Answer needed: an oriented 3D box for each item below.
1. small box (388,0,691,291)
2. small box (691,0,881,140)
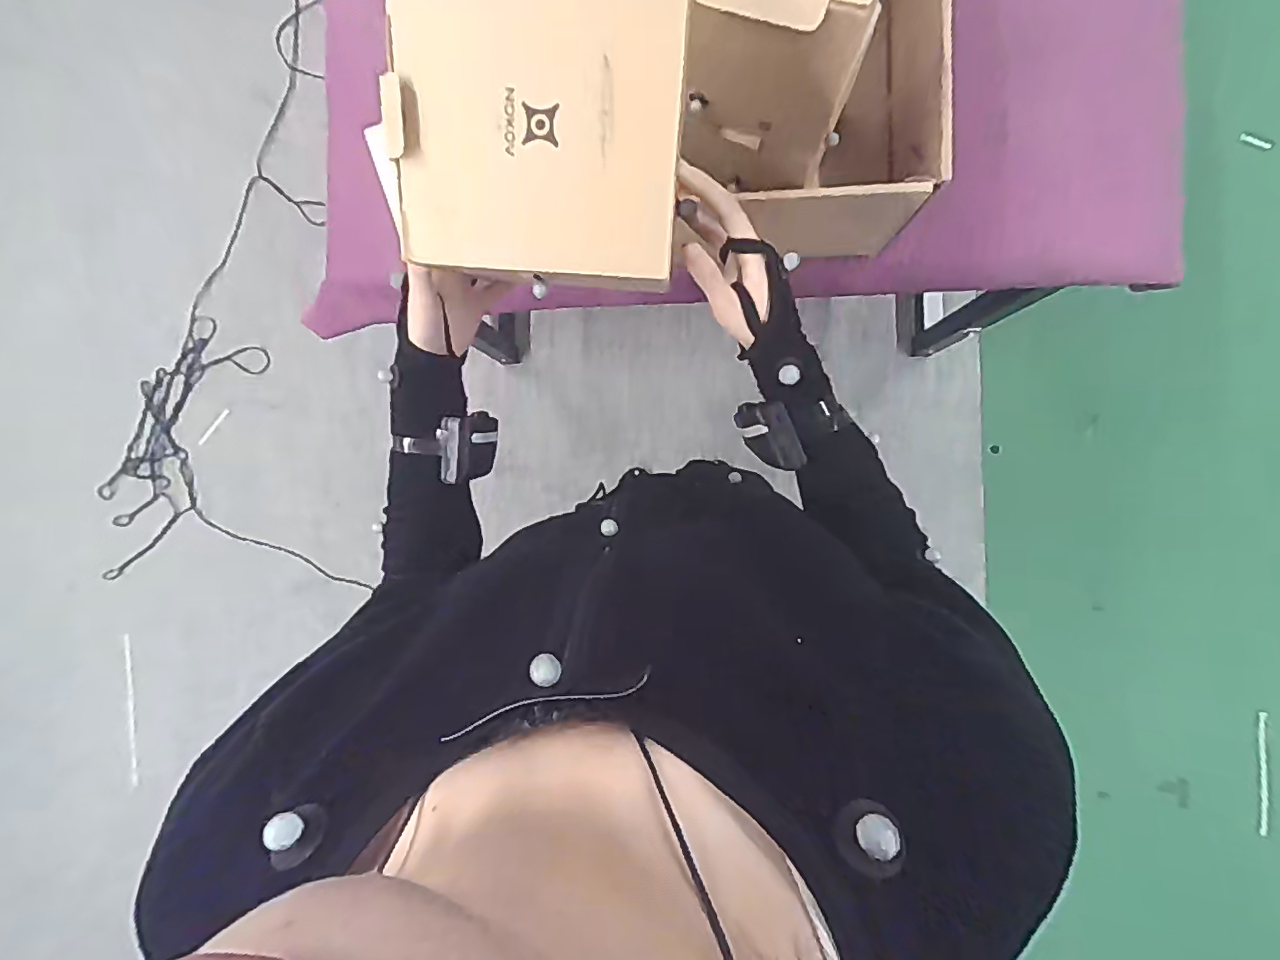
[{"bbox_3d":[-0.058,-0.234,0.399,0.179,0.176,0.168,5,107,3],"label":"small box"},{"bbox_3d":[0.131,-0.446,0.476,0.168,0.176,0.179,21,91,6],"label":"small box"}]
